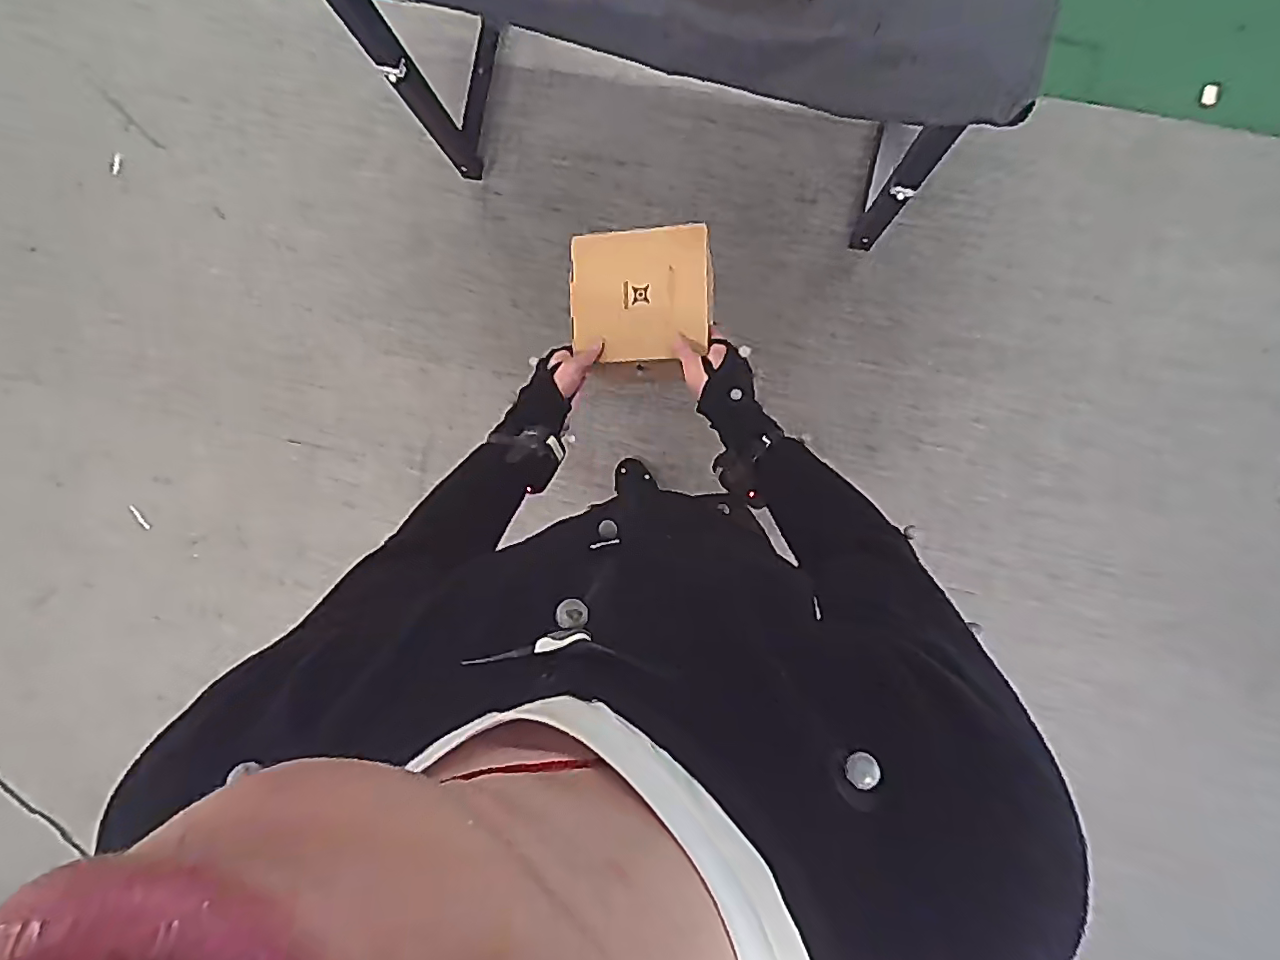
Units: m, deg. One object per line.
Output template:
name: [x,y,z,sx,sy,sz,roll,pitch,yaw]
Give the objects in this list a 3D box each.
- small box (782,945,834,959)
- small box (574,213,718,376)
small box: [0.462,1.415,1.444,0.168,0.176,0.179,14,92,4]
small box: [0.017,-0.243,0.751,0.179,0.176,0.168,-1,90,9]
